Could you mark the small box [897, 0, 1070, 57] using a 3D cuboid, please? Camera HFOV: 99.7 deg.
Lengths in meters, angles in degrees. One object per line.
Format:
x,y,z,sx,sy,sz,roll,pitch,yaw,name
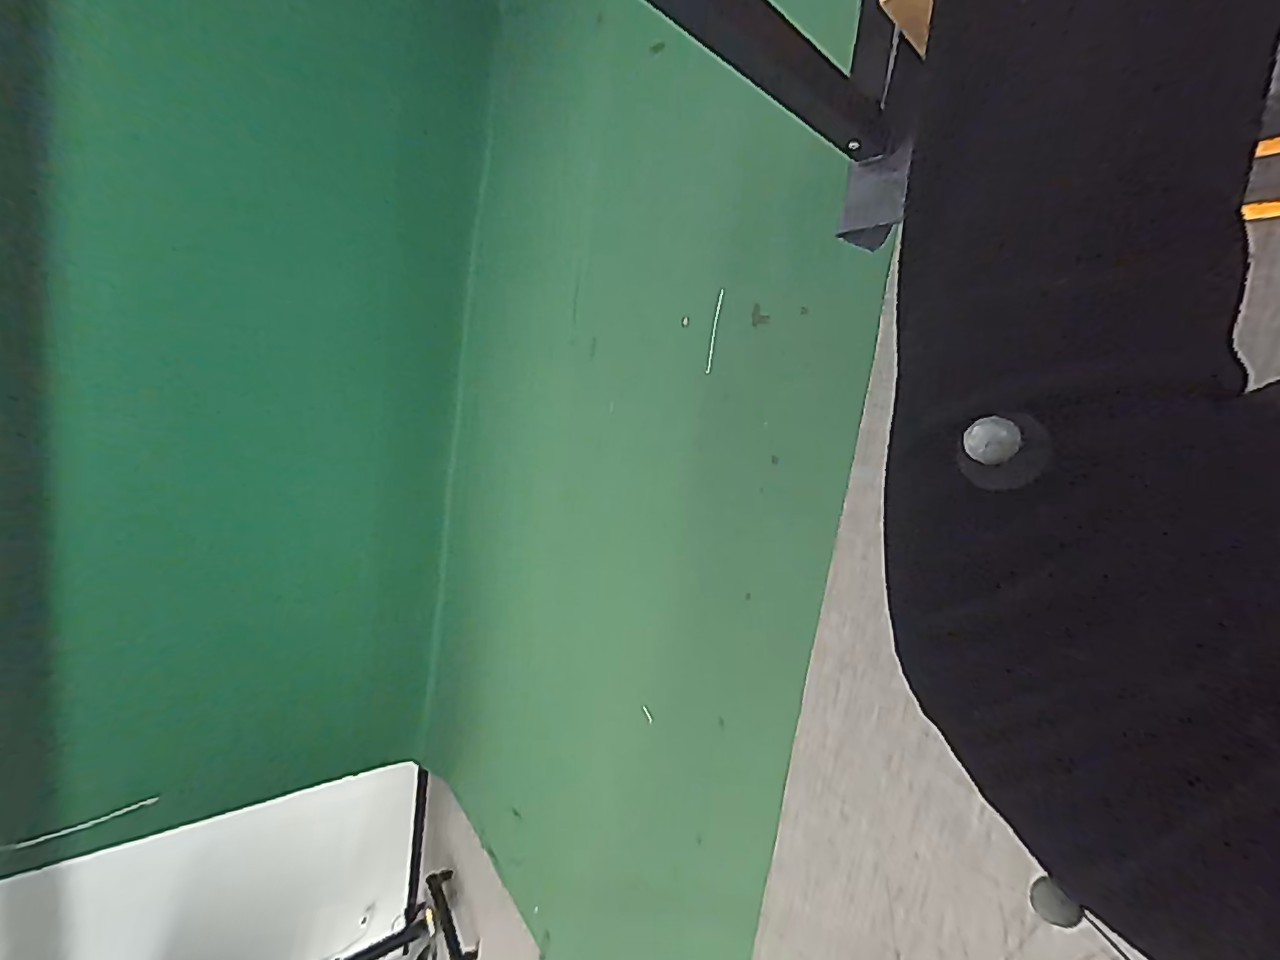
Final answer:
0.414,-0.665,0.642,0.168,0.176,0.179,13,100,50,small box
